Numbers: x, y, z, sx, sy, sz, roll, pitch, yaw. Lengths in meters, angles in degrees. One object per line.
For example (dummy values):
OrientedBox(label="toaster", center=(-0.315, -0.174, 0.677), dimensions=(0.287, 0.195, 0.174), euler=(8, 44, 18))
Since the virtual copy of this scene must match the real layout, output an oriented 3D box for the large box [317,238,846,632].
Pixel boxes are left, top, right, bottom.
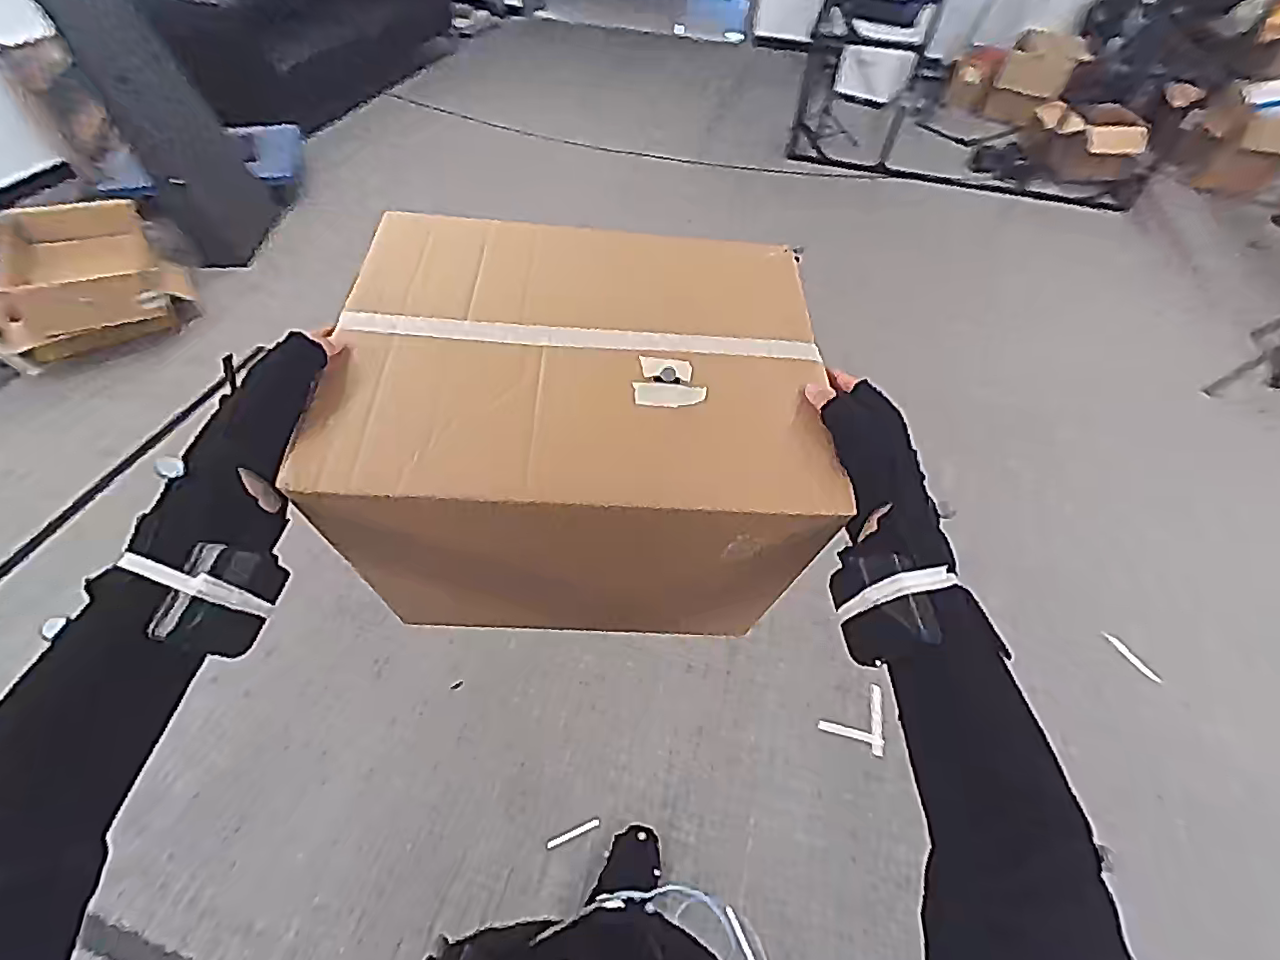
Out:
OrientedBox(label="large box", center=(-0.052, -0.027, 0.604), dimensions=(0.408, 0.320, 0.320), euler=(4, 58, -4))
